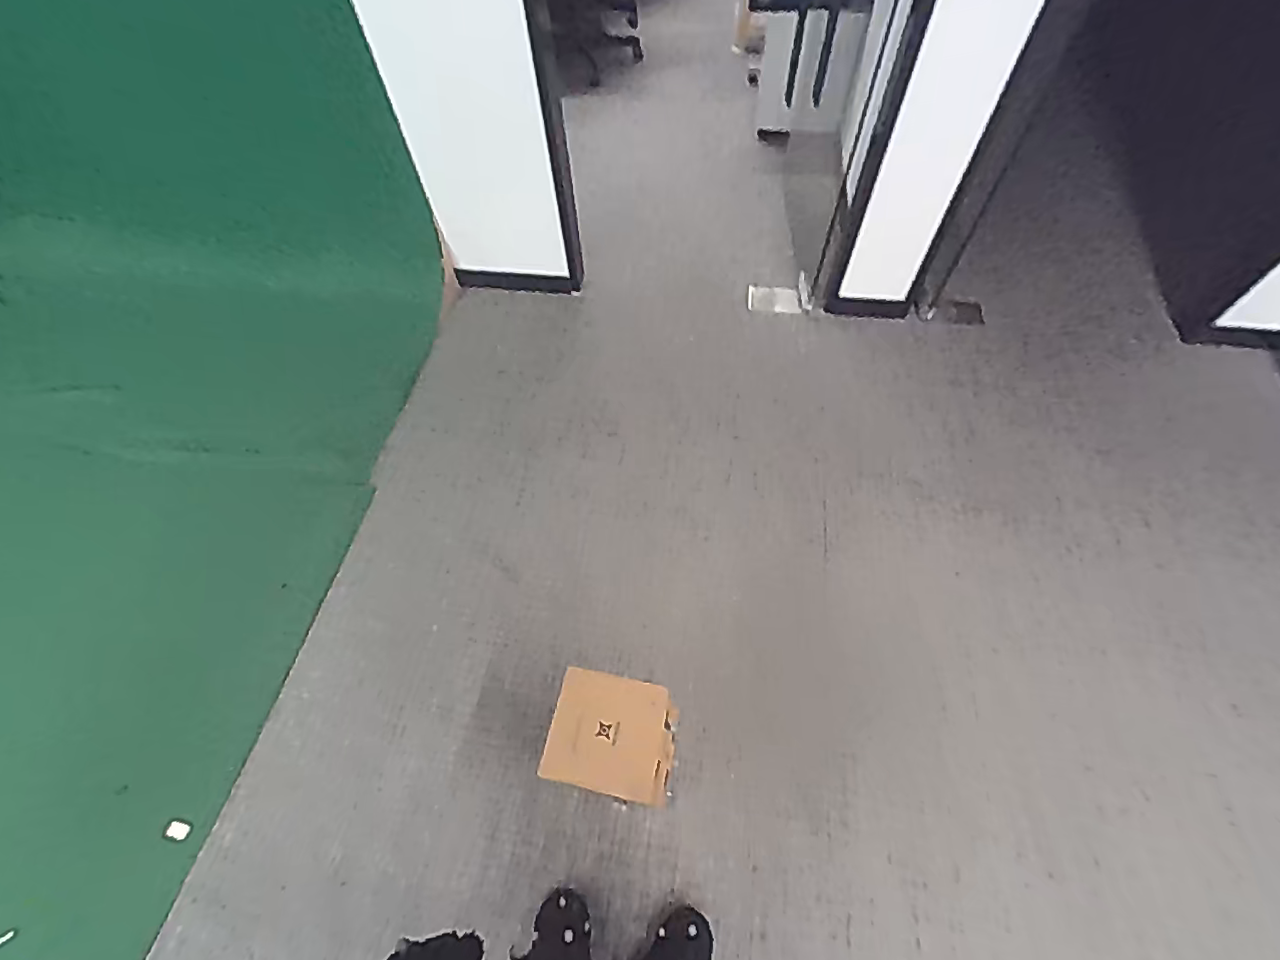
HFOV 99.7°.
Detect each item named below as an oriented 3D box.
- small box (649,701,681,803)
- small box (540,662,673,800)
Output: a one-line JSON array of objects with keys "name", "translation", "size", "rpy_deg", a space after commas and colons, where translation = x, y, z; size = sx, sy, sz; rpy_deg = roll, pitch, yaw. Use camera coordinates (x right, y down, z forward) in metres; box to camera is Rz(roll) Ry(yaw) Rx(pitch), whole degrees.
[{"name": "small box", "translation": [-0.022, 0.505, 1.038], "size": [0.179, 0.176, 0.168], "rpy_deg": [10, 60, 9]}, {"name": "small box", "translation": [-0.043, 0.420, 0.900], "size": [0.179, 0.176, 0.168], "rpy_deg": [8, 58, 10]}]
